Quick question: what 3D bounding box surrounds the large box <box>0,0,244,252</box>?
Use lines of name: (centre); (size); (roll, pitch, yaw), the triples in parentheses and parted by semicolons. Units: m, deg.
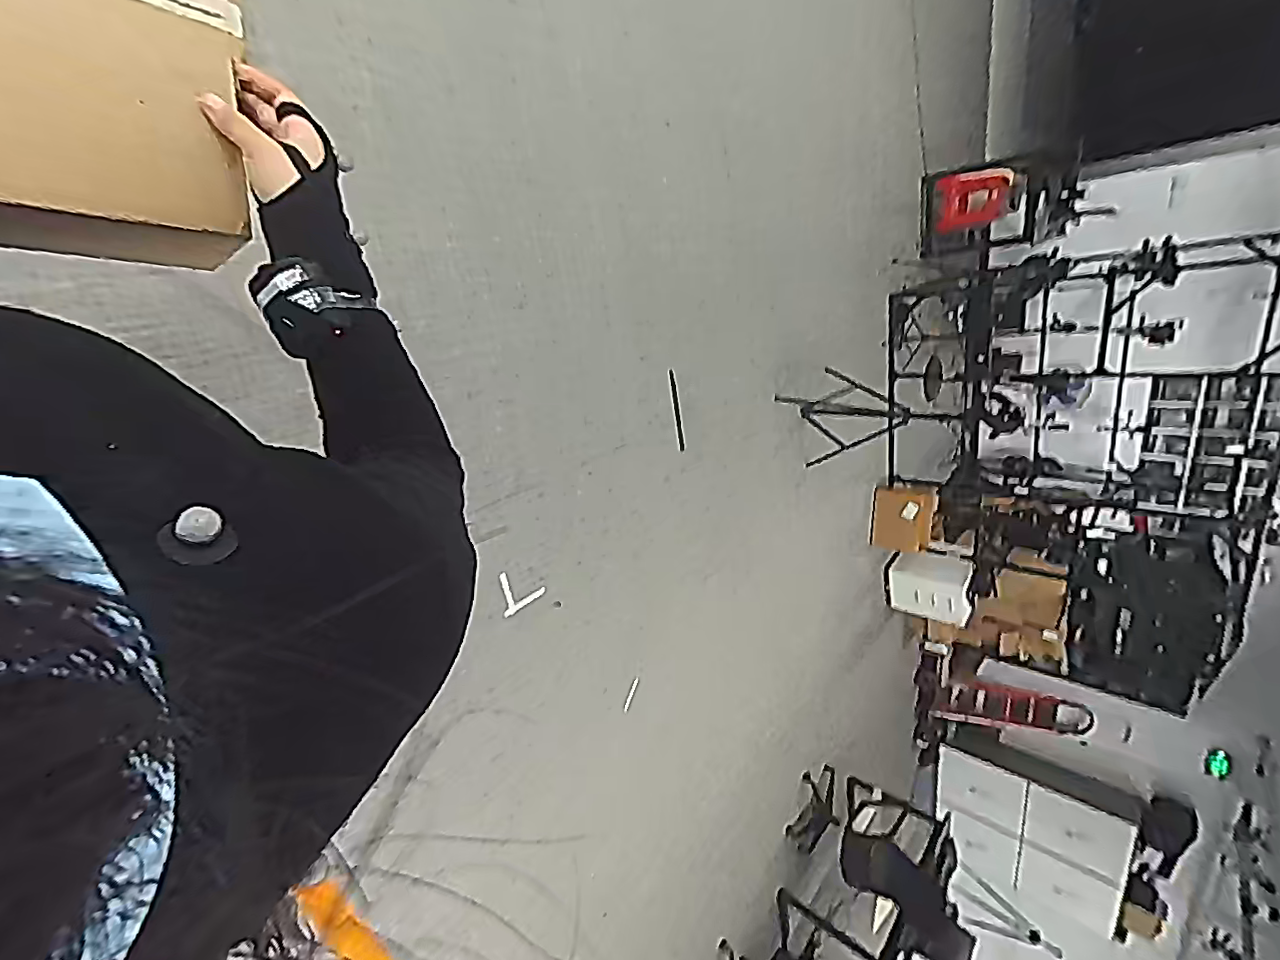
large box: (-0.571, -0.367, 0.397); (0.408, 0.320, 0.320); (-10, 107, -40)
